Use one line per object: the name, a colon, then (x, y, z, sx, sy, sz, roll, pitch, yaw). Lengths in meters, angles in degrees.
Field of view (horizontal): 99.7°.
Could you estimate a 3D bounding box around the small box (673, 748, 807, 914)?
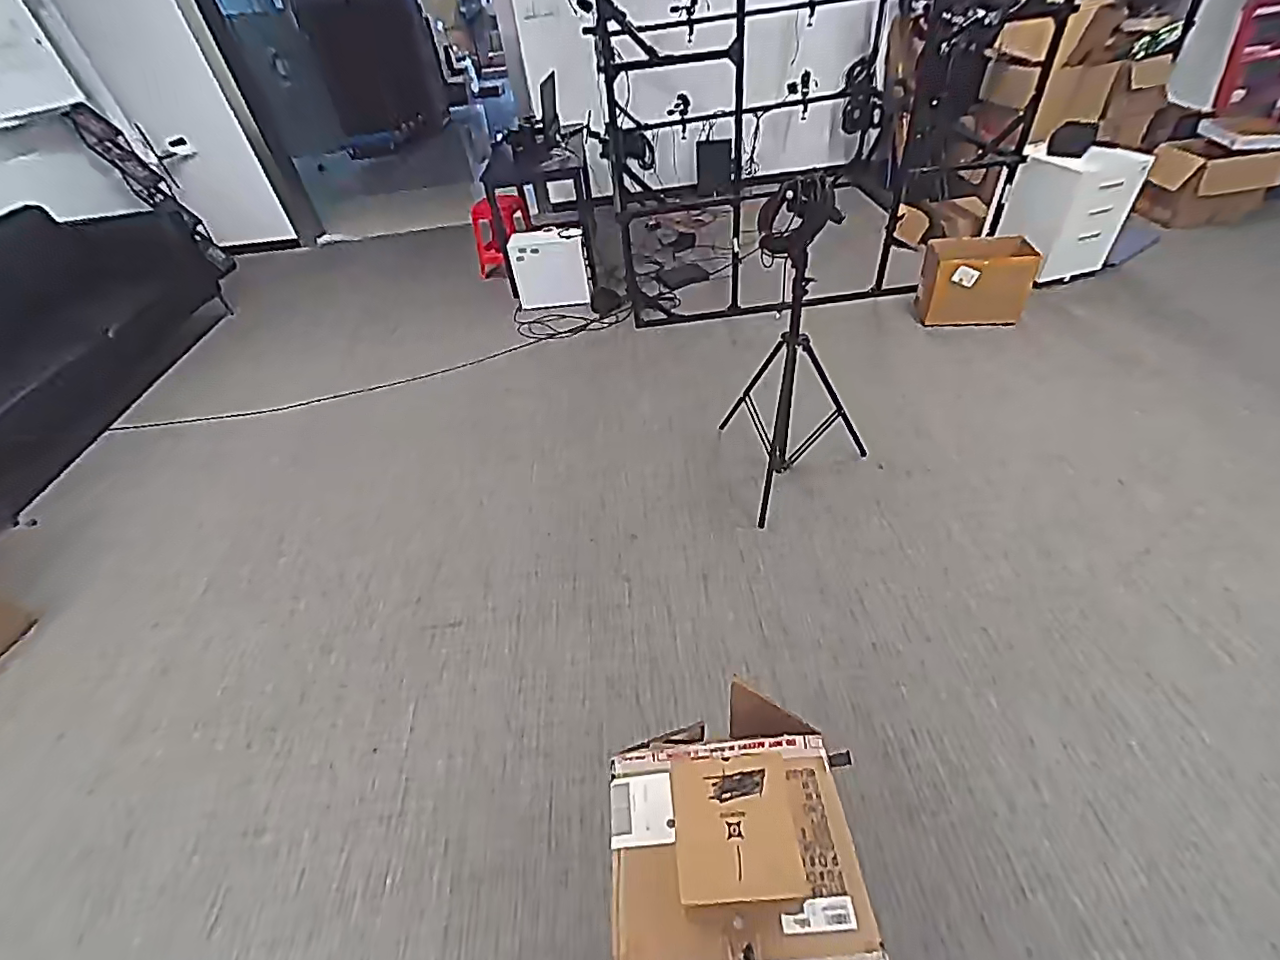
small box: (0.138, 0.525, 0.808, 0.168, 0.176, 0.179, -6, 46, 3)
